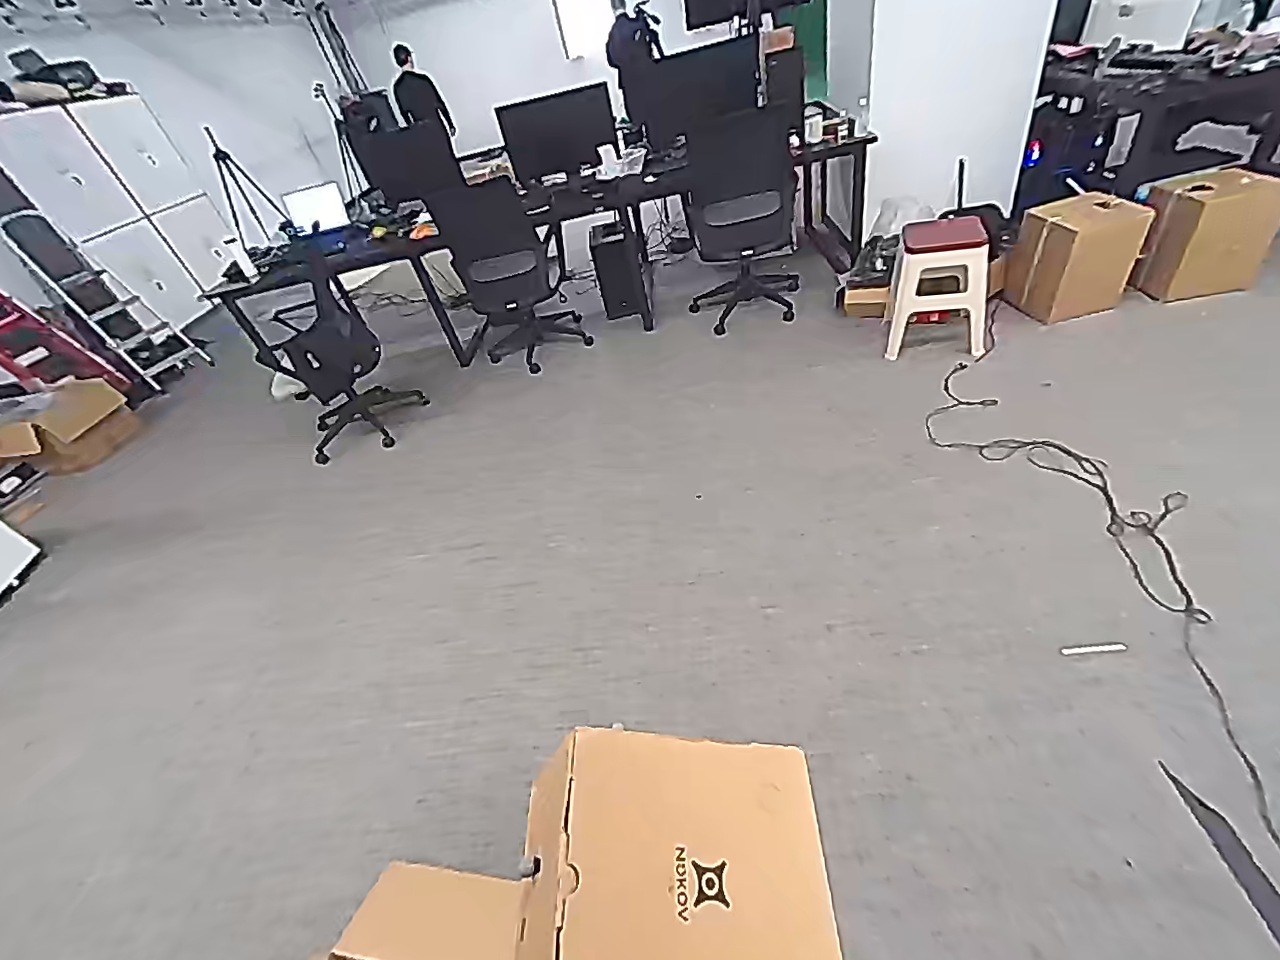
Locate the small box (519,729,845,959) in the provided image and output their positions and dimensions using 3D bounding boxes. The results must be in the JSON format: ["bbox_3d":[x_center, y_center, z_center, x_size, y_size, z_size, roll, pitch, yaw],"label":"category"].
[{"bbox_3d":[0.018,0.295,0.389,0.179,0.176,0.168,11,48,-13],"label":"small box"}]
